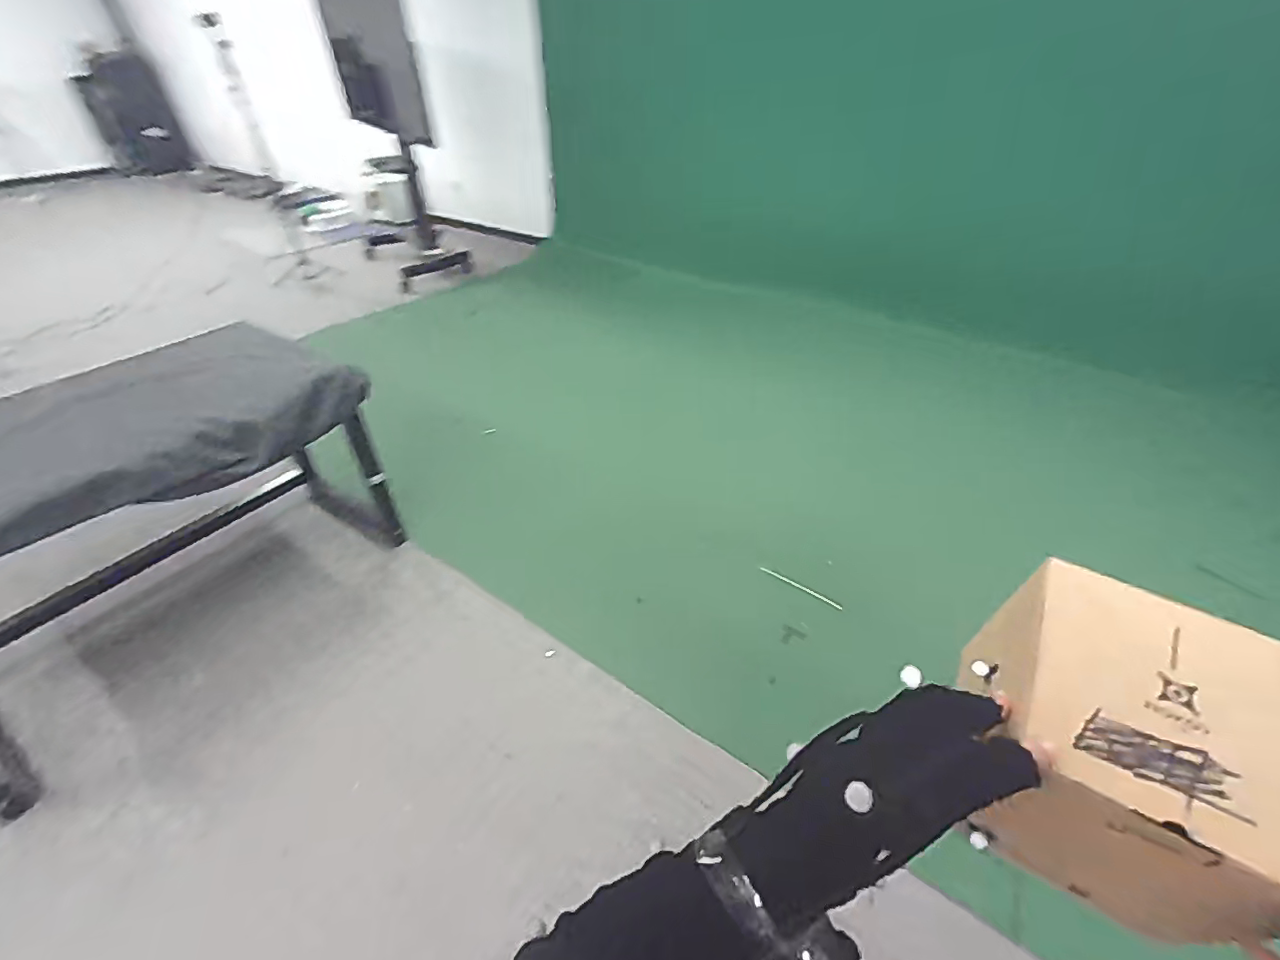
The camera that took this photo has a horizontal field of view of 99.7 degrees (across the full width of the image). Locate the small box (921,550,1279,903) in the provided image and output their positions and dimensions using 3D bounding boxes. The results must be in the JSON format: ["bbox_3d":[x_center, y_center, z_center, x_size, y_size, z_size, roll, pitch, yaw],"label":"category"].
[{"bbox_3d":[0.348,0.196,0.432,0.168,0.176,0.179,23,52,21],"label":"small box"}]
